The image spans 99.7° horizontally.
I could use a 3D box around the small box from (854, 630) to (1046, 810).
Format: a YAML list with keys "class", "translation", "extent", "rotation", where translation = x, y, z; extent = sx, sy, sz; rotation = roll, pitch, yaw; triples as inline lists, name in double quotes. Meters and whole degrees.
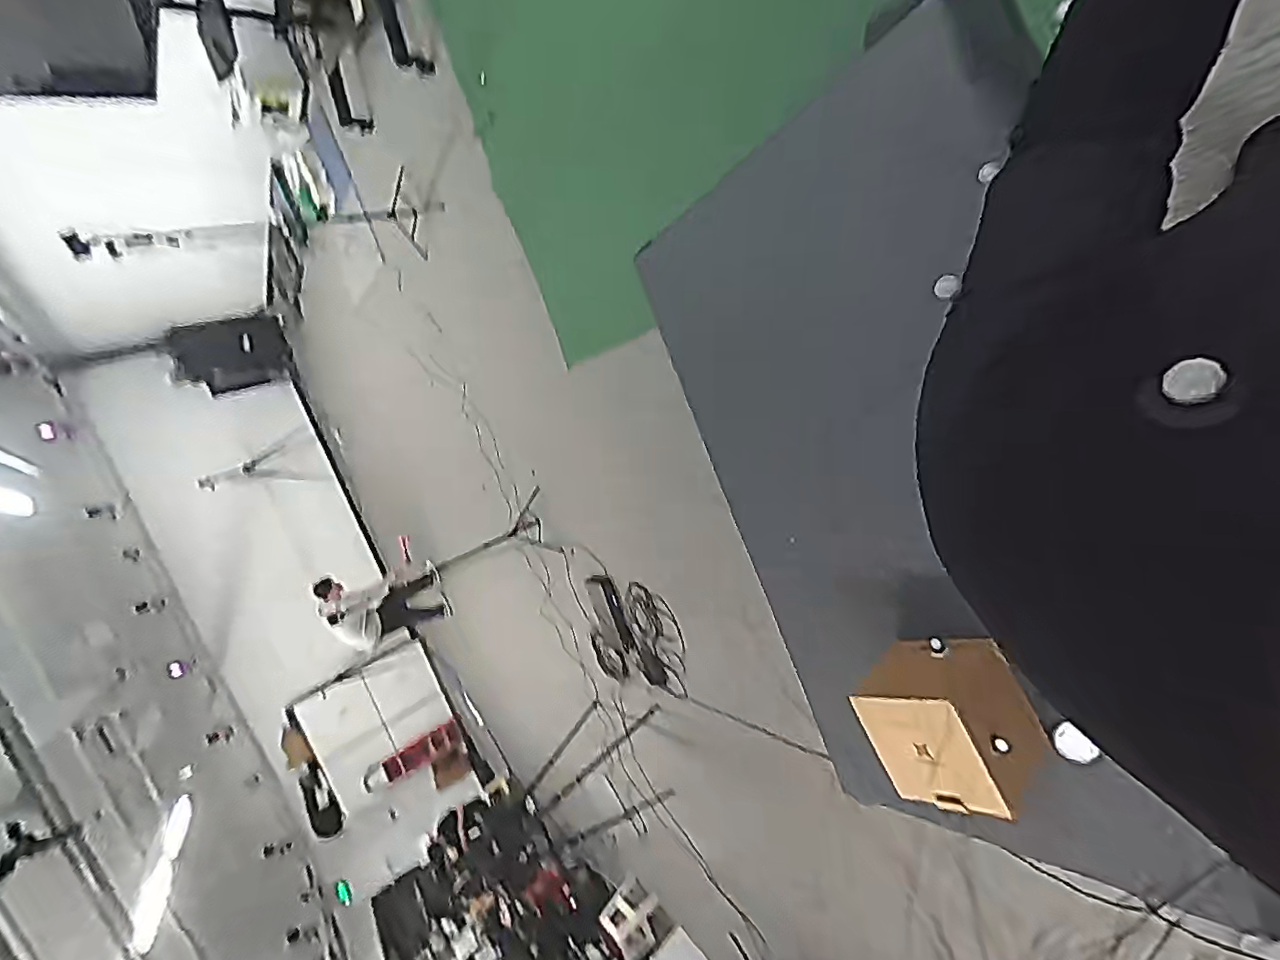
- class: "small box"
  translation: [0.472, 0.352, 0.821]
  extent: [0.168, 0.176, 0.179]
  rotation: [-31, 85, 54]
